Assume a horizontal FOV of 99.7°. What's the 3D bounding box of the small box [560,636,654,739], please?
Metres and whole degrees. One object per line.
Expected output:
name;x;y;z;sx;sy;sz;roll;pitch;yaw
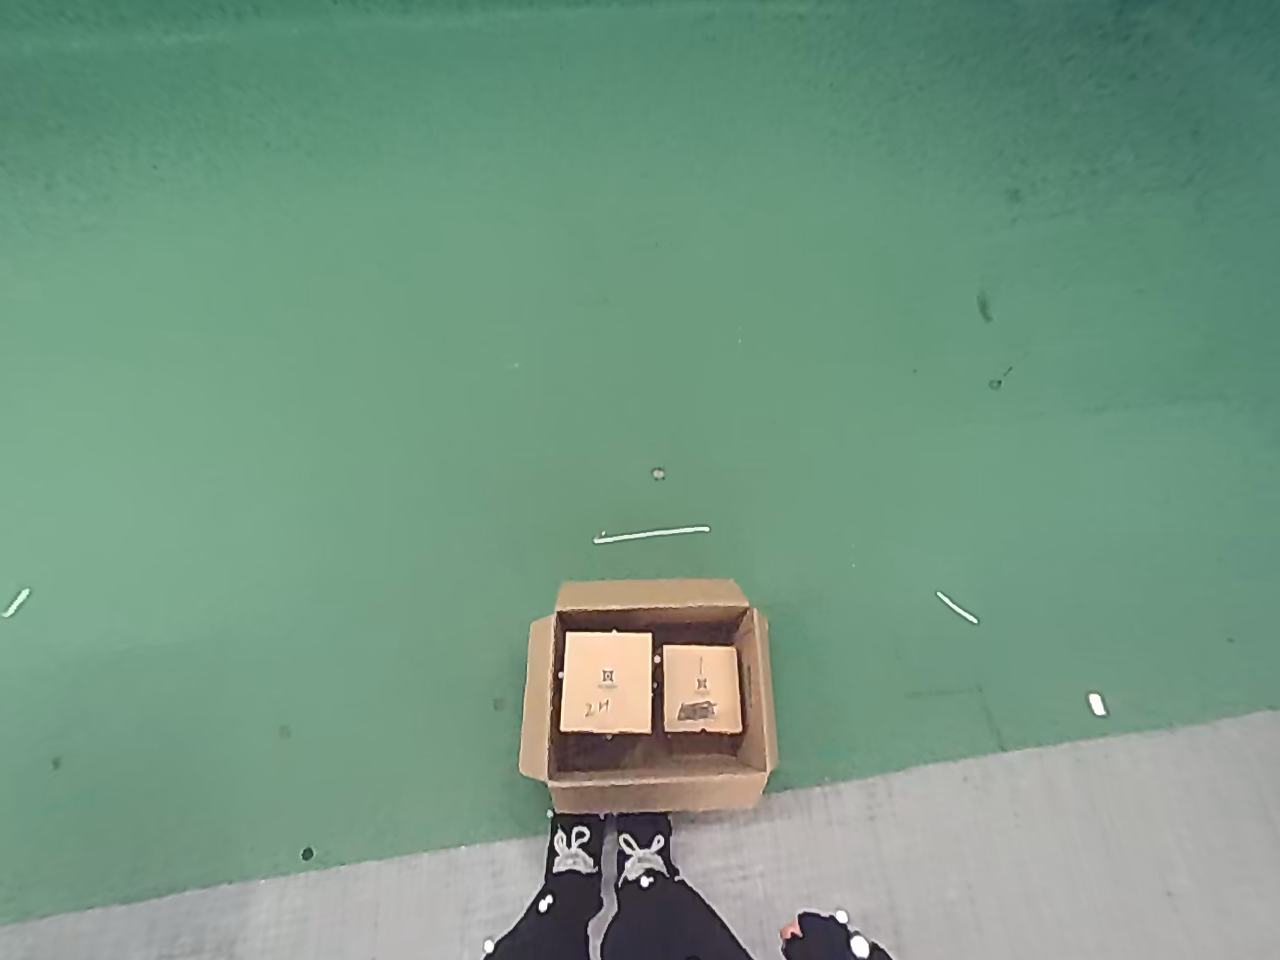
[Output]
small box;-0.058;0.412;1.067;0.168;0.176;0.179;1;66;1
